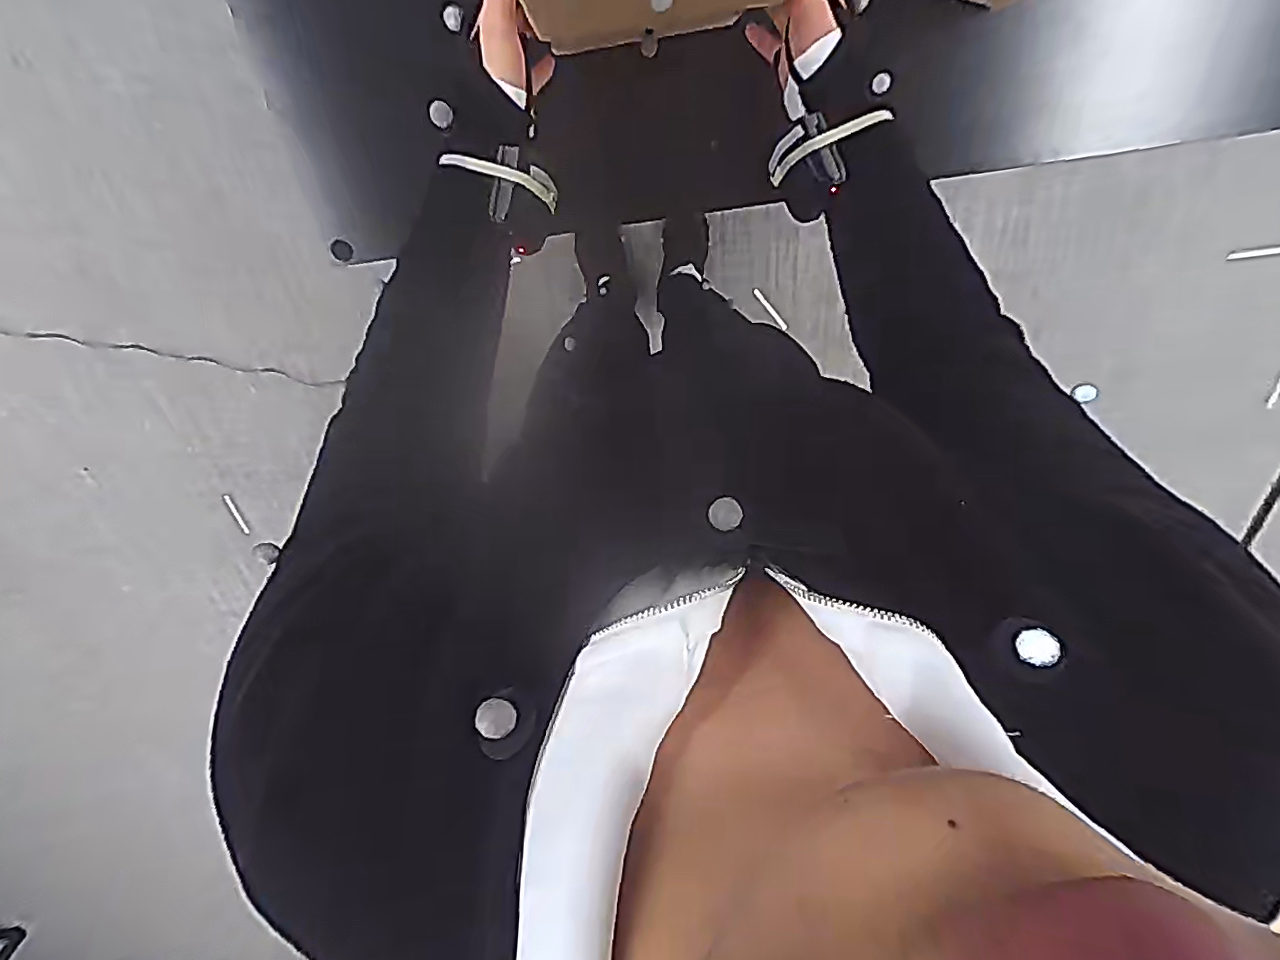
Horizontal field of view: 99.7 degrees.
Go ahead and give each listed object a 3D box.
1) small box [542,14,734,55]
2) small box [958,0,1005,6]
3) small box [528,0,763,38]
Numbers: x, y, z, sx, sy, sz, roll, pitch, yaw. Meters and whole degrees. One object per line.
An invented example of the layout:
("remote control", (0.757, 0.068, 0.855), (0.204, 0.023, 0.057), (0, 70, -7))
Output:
("small box", (-0.005, -0.452, 0.415), (0.179, 0.176, 0.168), (-10, 121, 0))
("small box", (0.284, -0.501, 0.409), (0.168, 0.176, 0.179), (7, 120, -10))
("small box", (0.008, -0.356, 0.281), (0.179, 0.176, 0.168), (-9, 122, 0))
